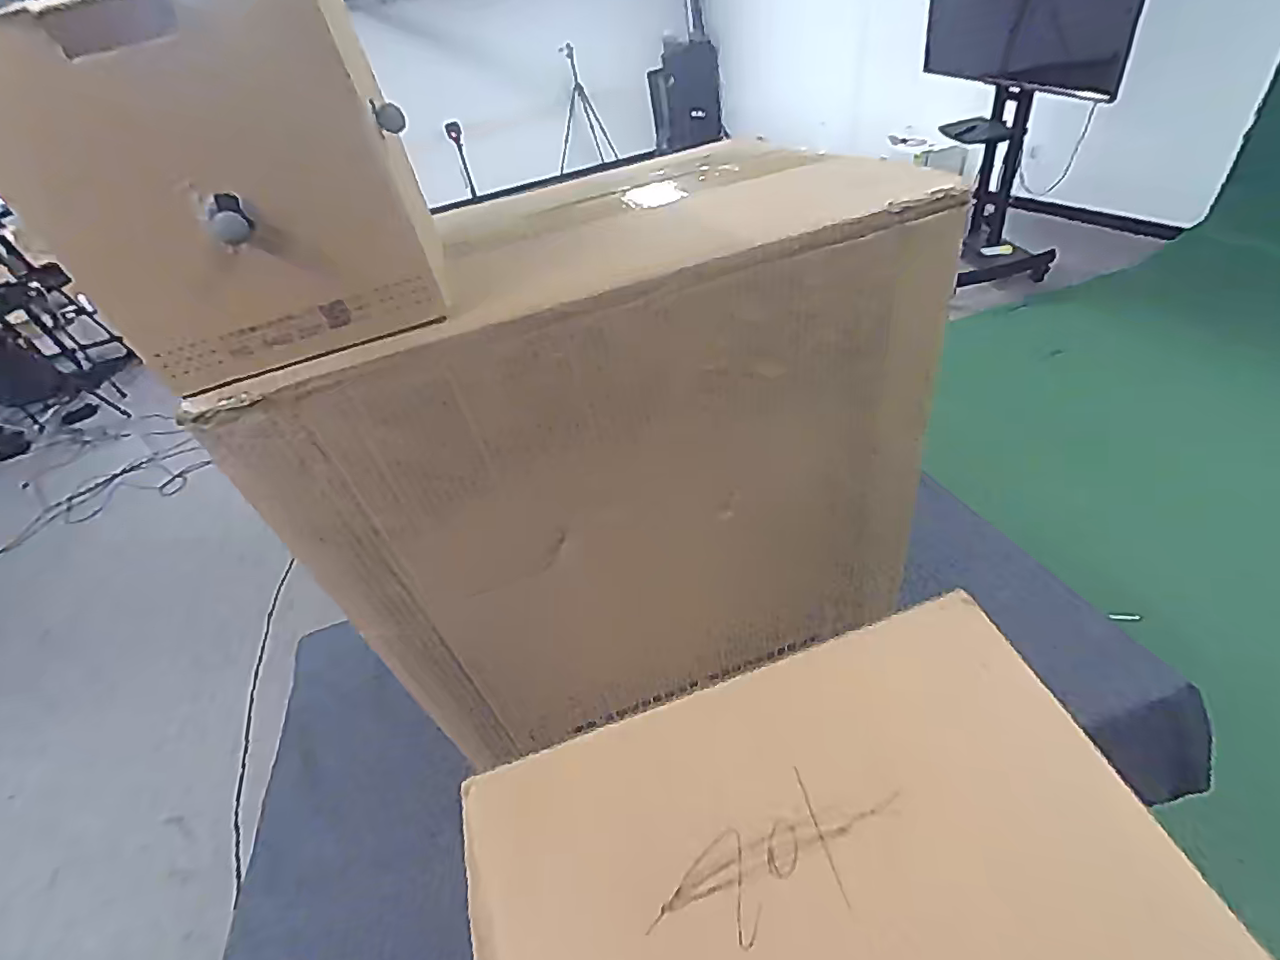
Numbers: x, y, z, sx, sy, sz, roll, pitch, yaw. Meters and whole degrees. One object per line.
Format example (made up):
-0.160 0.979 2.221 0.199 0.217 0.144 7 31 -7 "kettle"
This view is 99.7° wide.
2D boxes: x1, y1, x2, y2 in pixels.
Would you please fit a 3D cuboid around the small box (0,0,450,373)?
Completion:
-0.230 -0.185 0.339 0.168 0.176 0.179 -19 41 -7 "small box"
